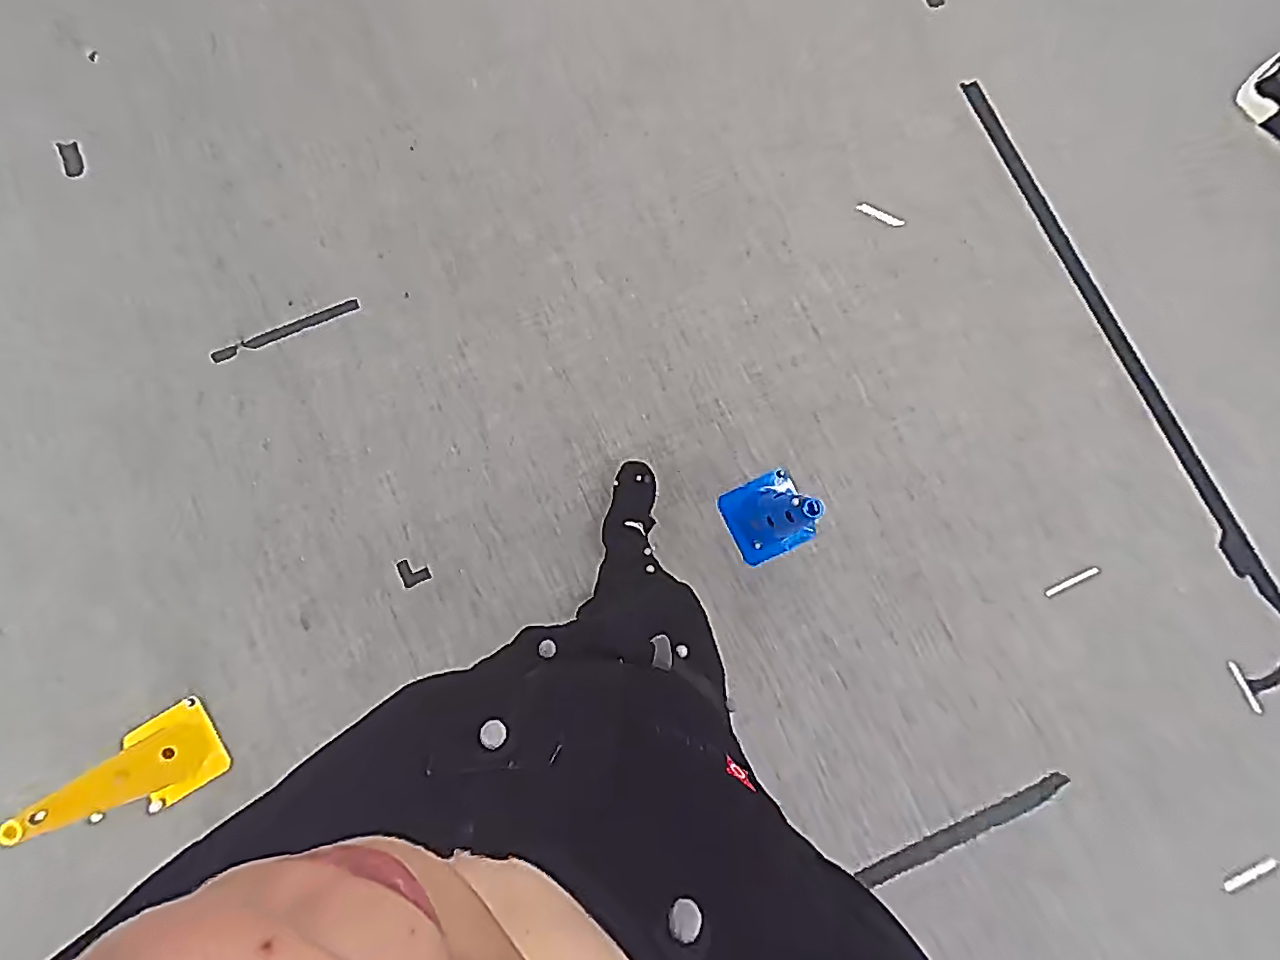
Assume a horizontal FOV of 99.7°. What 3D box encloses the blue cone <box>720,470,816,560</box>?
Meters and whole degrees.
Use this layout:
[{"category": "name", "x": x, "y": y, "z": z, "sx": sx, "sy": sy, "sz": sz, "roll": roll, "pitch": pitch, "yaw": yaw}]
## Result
[{"category": "blue cone", "x": 0.319, "y": 0.072, "z": 1.203, "sx": 0.193, "sy": 0.380, "sz": 0.192, "roll": -24, "pitch": 84, "yaw": -3}]
